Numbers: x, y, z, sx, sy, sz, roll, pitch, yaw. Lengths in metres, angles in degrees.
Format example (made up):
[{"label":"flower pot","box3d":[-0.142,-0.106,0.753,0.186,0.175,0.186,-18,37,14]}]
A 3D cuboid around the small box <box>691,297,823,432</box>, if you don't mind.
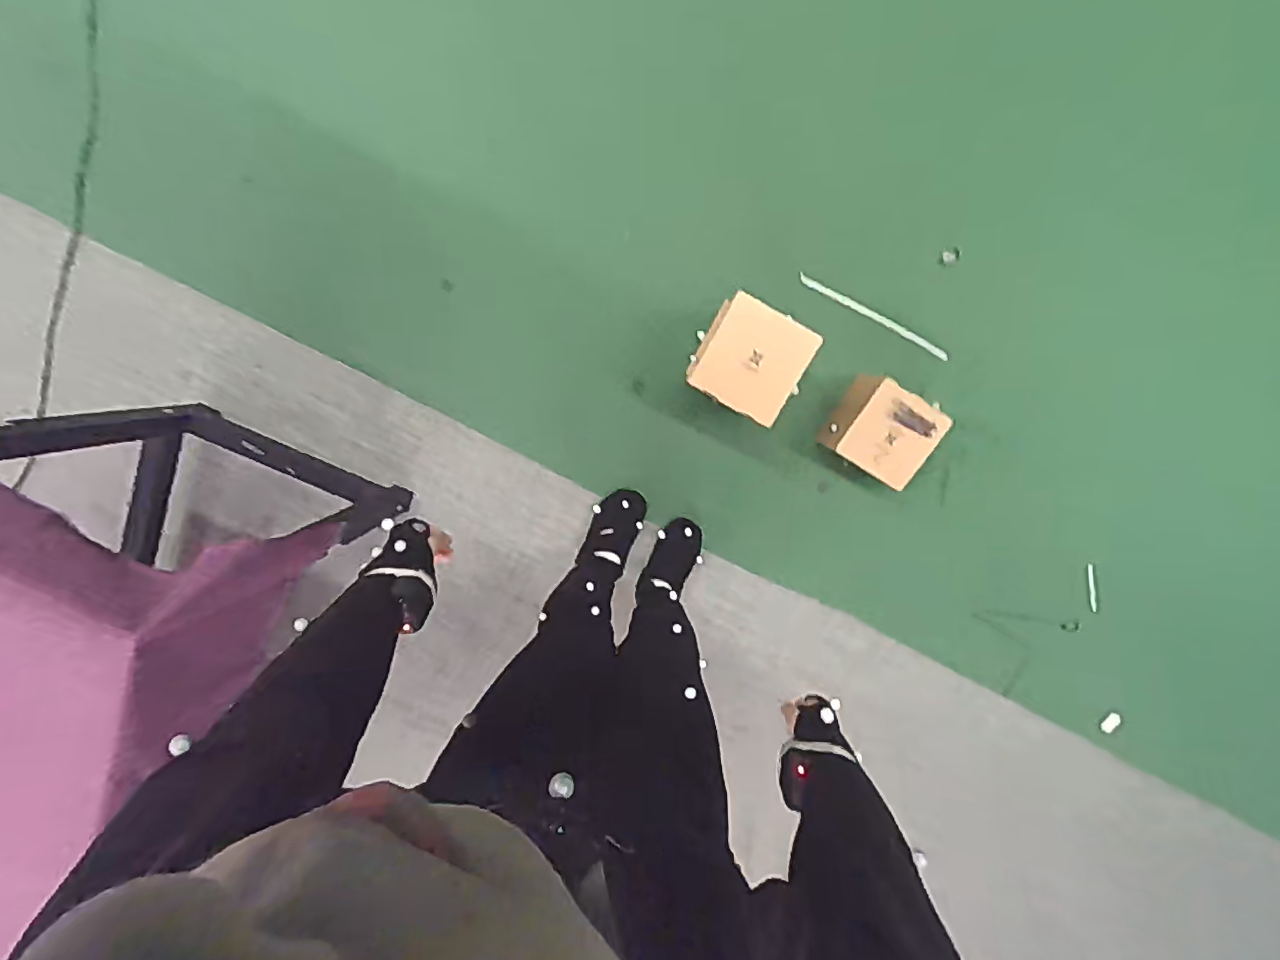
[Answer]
[{"label":"small box","box3d":[0.202,-0.211,0.999,0.168,0.176,0.179,29,103,-2]}]
